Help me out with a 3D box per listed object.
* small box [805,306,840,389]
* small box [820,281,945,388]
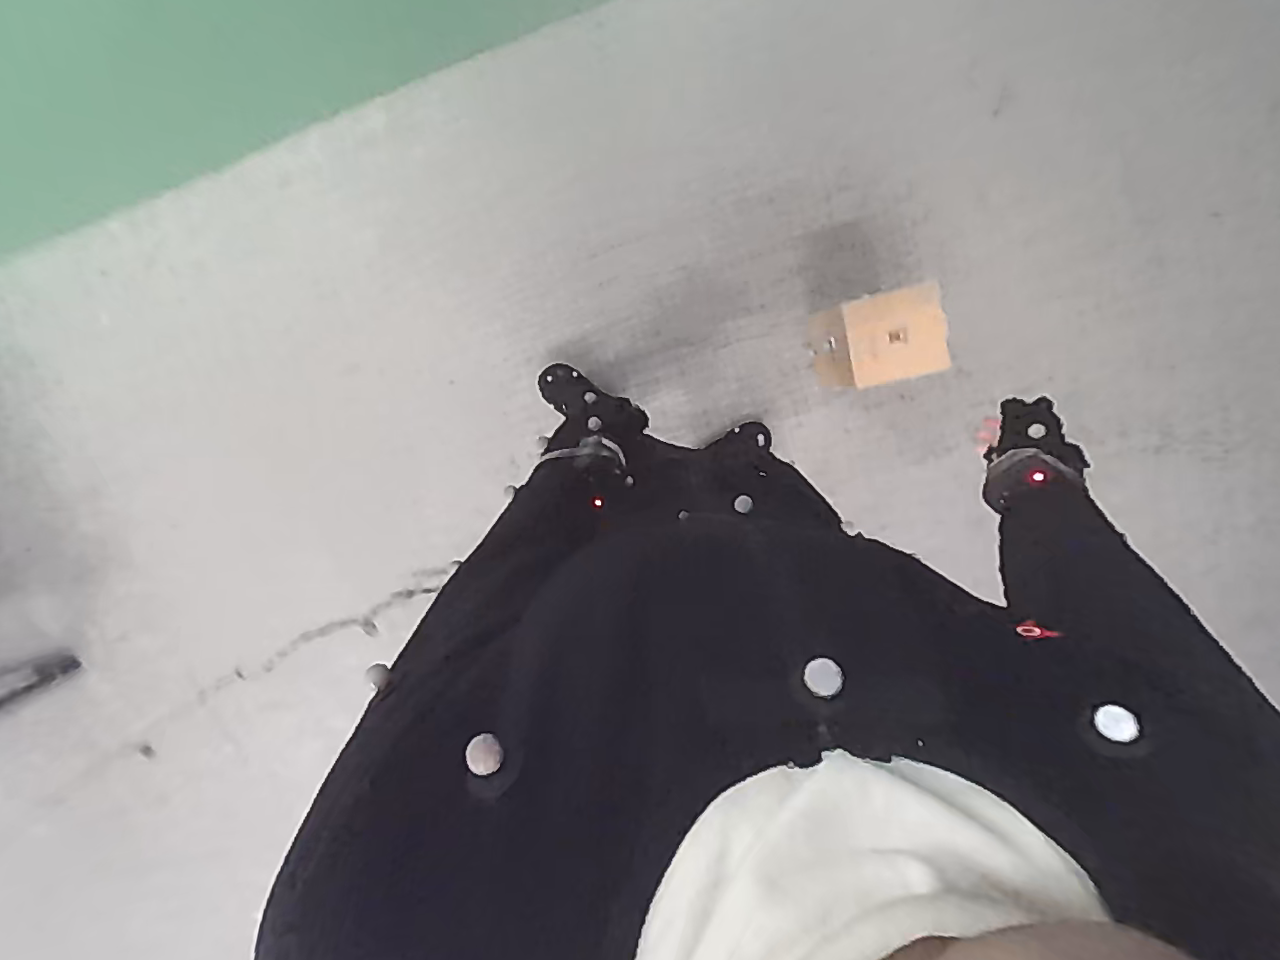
[{"bbox_3d":[0.490,-0.317,1.246,0.168,0.176,0.179,-11,101,8],"label":"small box"},{"bbox_3d":[0.479,-0.286,1.087,0.179,0.176,0.168,-12,99,9],"label":"small box"}]
